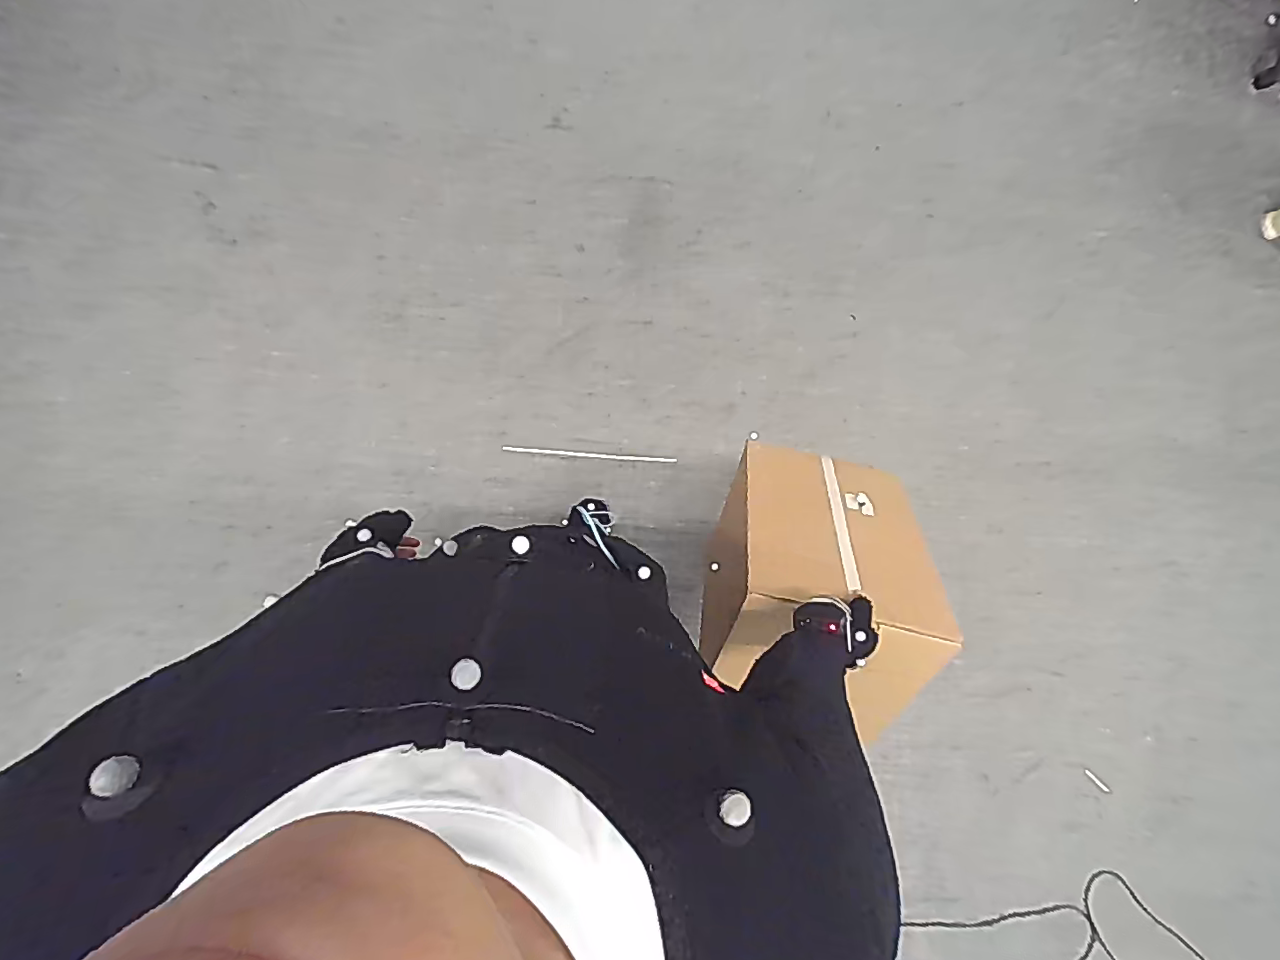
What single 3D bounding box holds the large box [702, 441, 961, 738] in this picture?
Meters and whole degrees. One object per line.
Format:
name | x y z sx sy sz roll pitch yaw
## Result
large box | 0.305 0.189 1.003 0.320 0.408 0.320 15 127 0
